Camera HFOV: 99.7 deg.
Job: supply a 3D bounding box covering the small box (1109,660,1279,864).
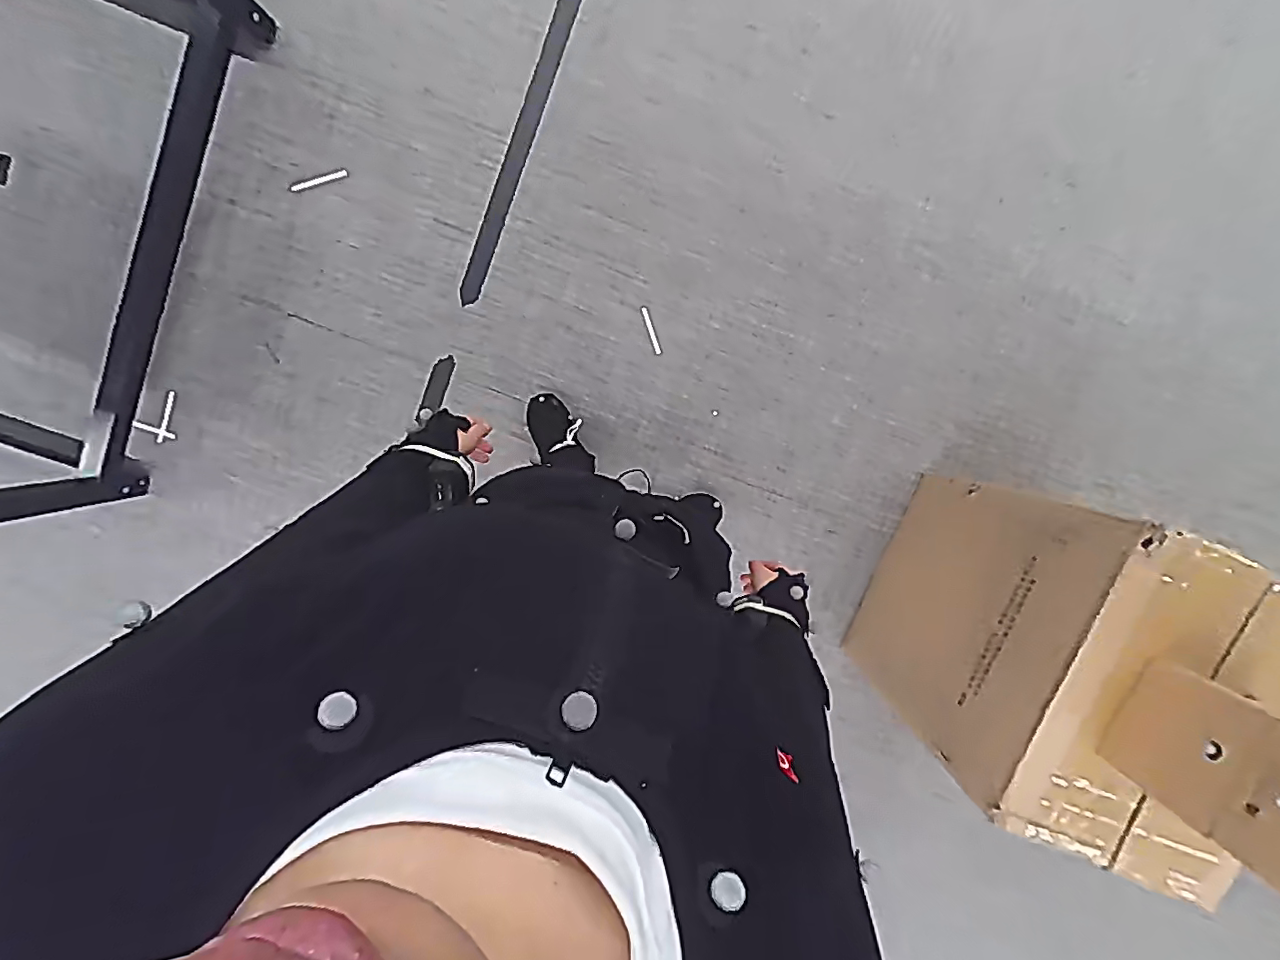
[{"bbox_3d":[0.804,0.375,0.731,0.168,0.176,0.179,23,98,-3],"label":"small box"}]
